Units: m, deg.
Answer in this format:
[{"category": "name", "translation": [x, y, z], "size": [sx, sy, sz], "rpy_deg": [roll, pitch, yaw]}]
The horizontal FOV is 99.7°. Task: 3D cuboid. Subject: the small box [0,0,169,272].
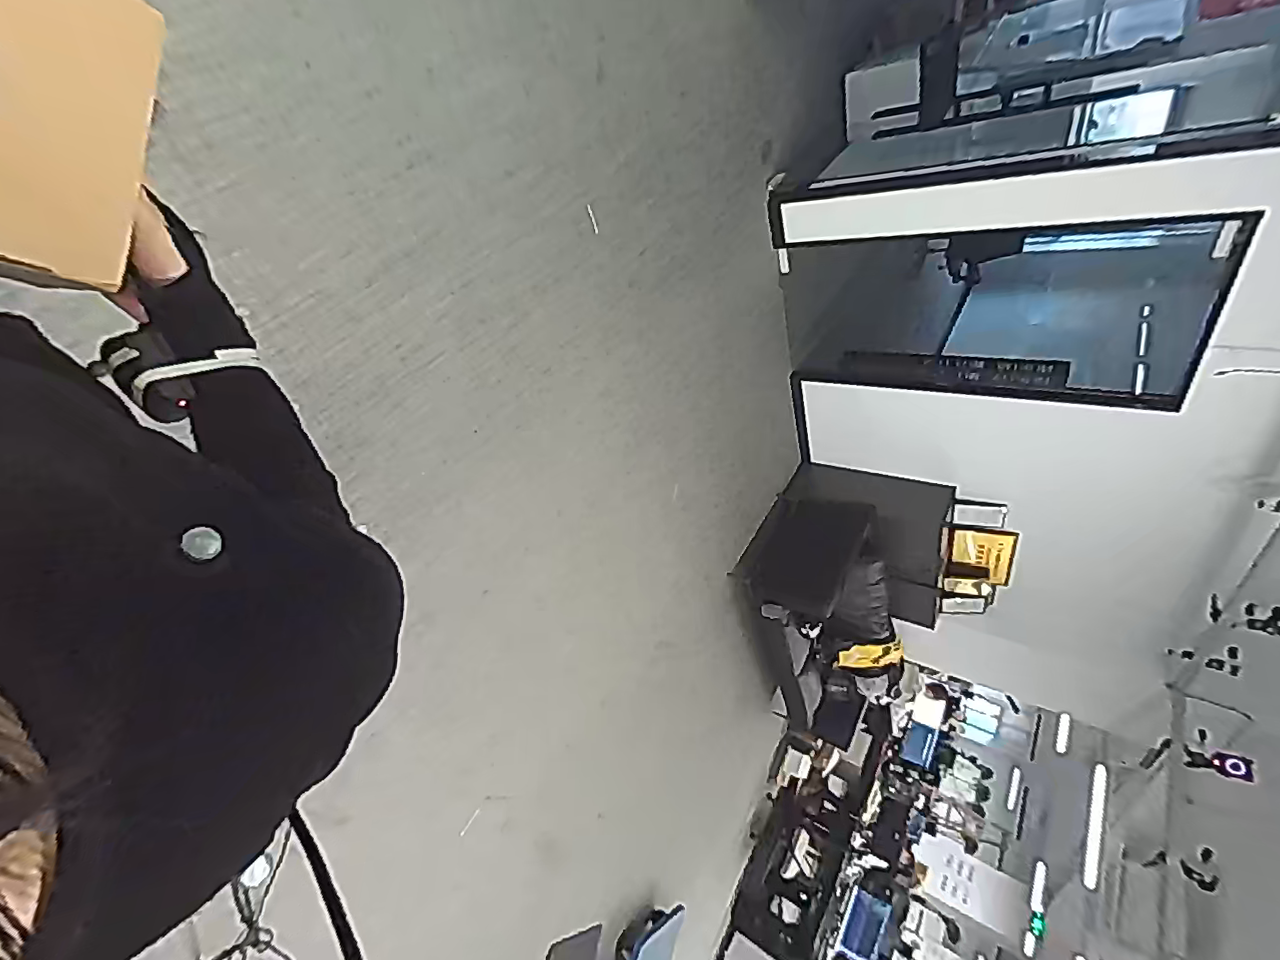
[{"category": "small box", "translation": [-0.410, -0.233, 0.298], "size": [0.168, 0.176, 0.179], "rpy_deg": [8, 94, -62]}]
